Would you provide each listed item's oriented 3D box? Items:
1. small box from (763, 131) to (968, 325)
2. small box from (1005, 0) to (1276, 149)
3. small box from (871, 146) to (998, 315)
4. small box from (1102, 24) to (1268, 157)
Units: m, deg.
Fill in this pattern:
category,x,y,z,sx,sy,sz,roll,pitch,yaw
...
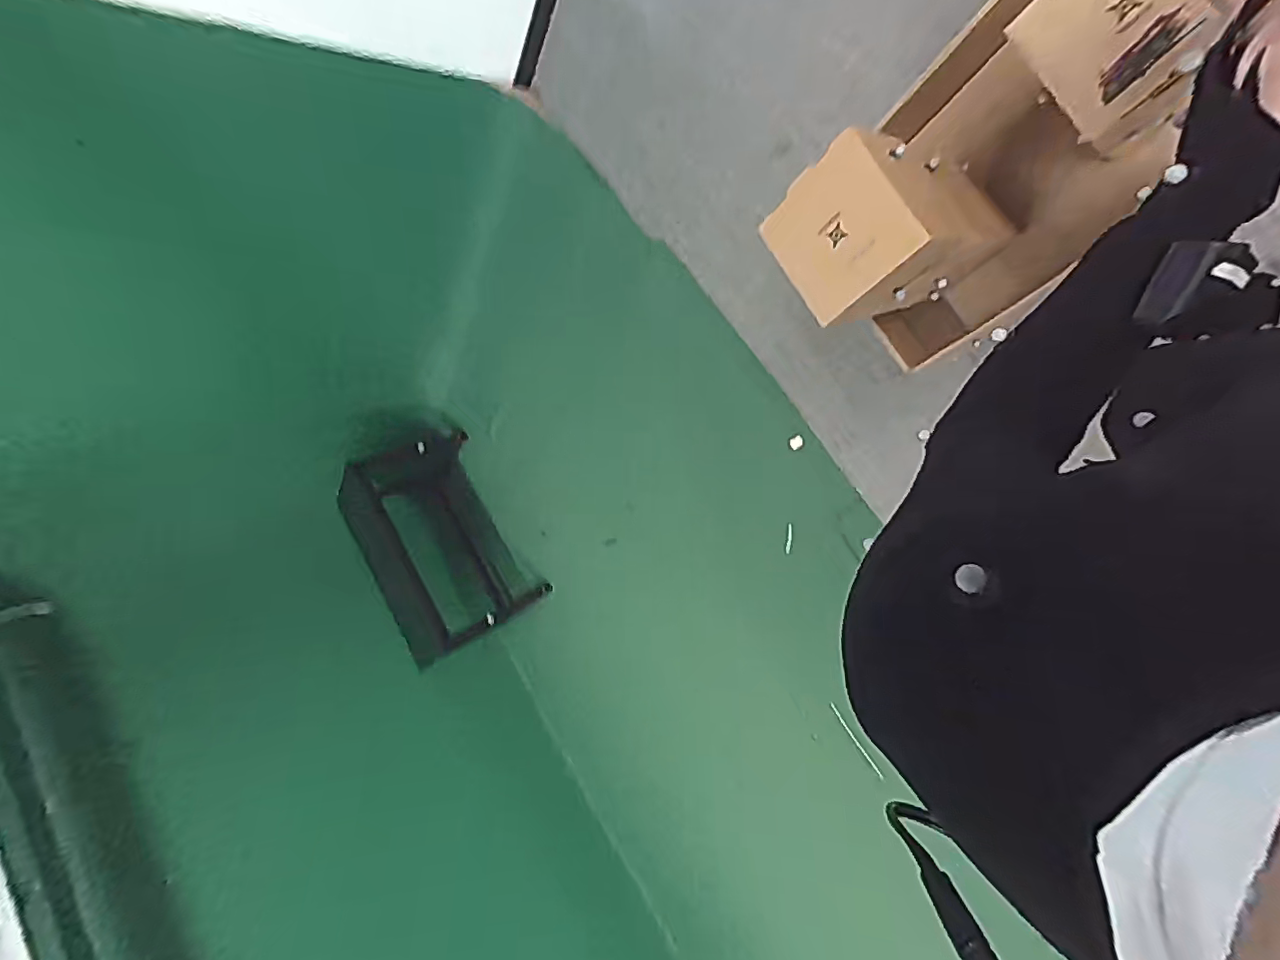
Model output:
category,x,y,z,sx,sy,sz,roll,pitch,yaw
small box,0.315,-0.342,0.756,0.168,0.176,0.179,-39,78,49
small box,0.584,-0.525,0.640,0.168,0.176,0.179,-39,78,47
small box,0.427,-0.390,0.864,0.168,0.176,0.179,-38,79,49
small box,0.695,-0.580,0.749,0.179,0.176,0.168,58,138,8
